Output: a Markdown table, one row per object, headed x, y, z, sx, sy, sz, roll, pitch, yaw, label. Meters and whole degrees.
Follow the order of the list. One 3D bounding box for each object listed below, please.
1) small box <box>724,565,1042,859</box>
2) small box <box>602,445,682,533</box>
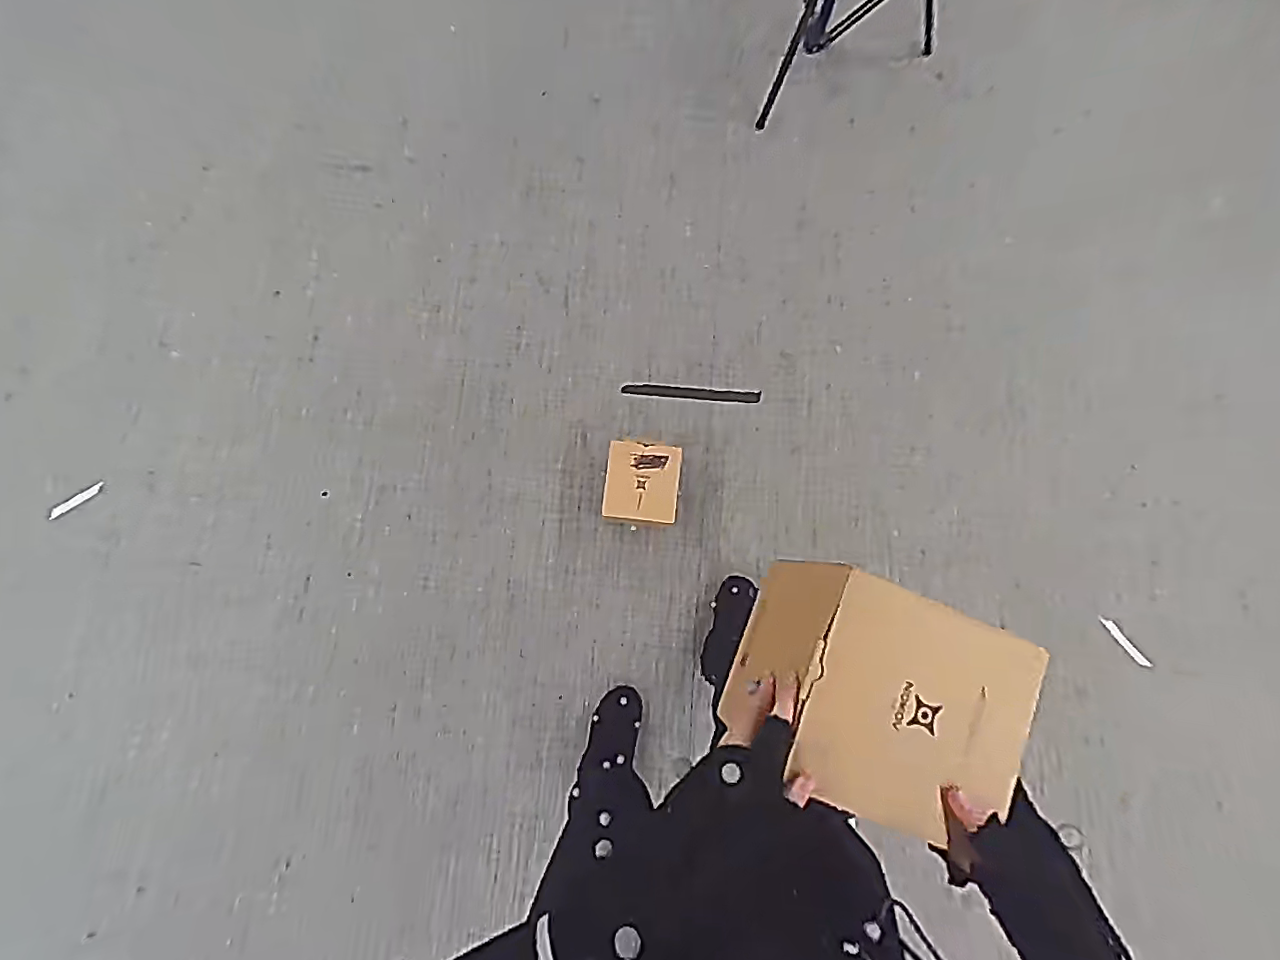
| x | y | z | sx | sy | sz | roll | pitch | yaw | label |
| --- | --- | --- | --- | --- | --- | --- | --- | --- | --- |
| 0.195 | 0.182 | 0.481 | 0.179 | 0.176 | 0.168 | 23 | 81 | -6 | small box |
| 0.002 | 0.027 | 1.290 | 0.168 | 0.176 | 0.179 | 7 | 81 | 0 | small box |
